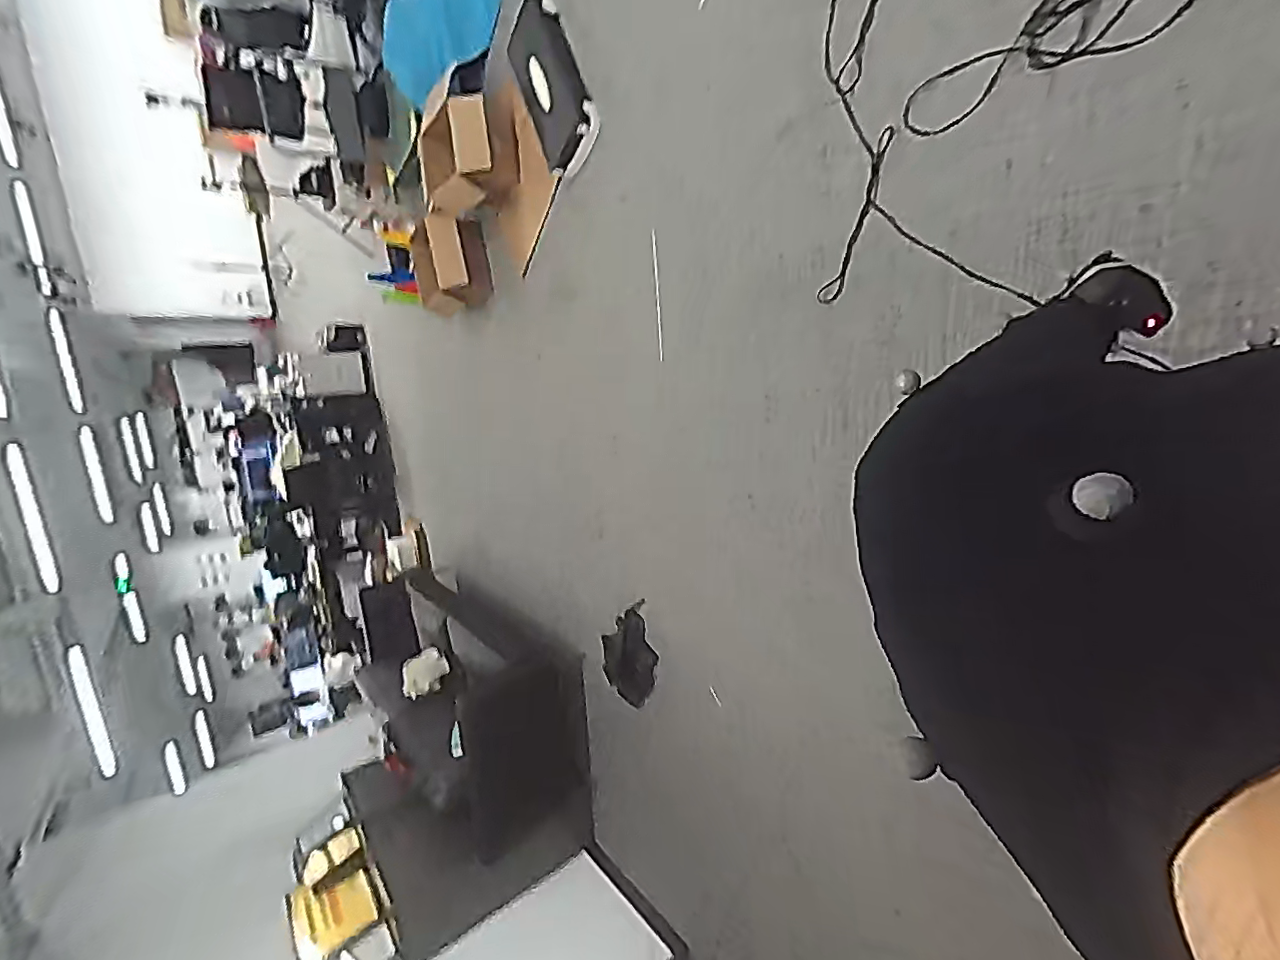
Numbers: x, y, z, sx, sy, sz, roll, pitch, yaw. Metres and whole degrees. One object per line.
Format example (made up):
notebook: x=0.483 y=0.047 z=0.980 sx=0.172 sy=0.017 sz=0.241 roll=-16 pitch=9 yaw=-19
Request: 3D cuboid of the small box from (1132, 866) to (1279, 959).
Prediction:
small box: x=0.832 y=0.722 z=0.782 sx=0.179 sy=0.176 sz=0.168 roll=27 pitch=121 yaw=46
